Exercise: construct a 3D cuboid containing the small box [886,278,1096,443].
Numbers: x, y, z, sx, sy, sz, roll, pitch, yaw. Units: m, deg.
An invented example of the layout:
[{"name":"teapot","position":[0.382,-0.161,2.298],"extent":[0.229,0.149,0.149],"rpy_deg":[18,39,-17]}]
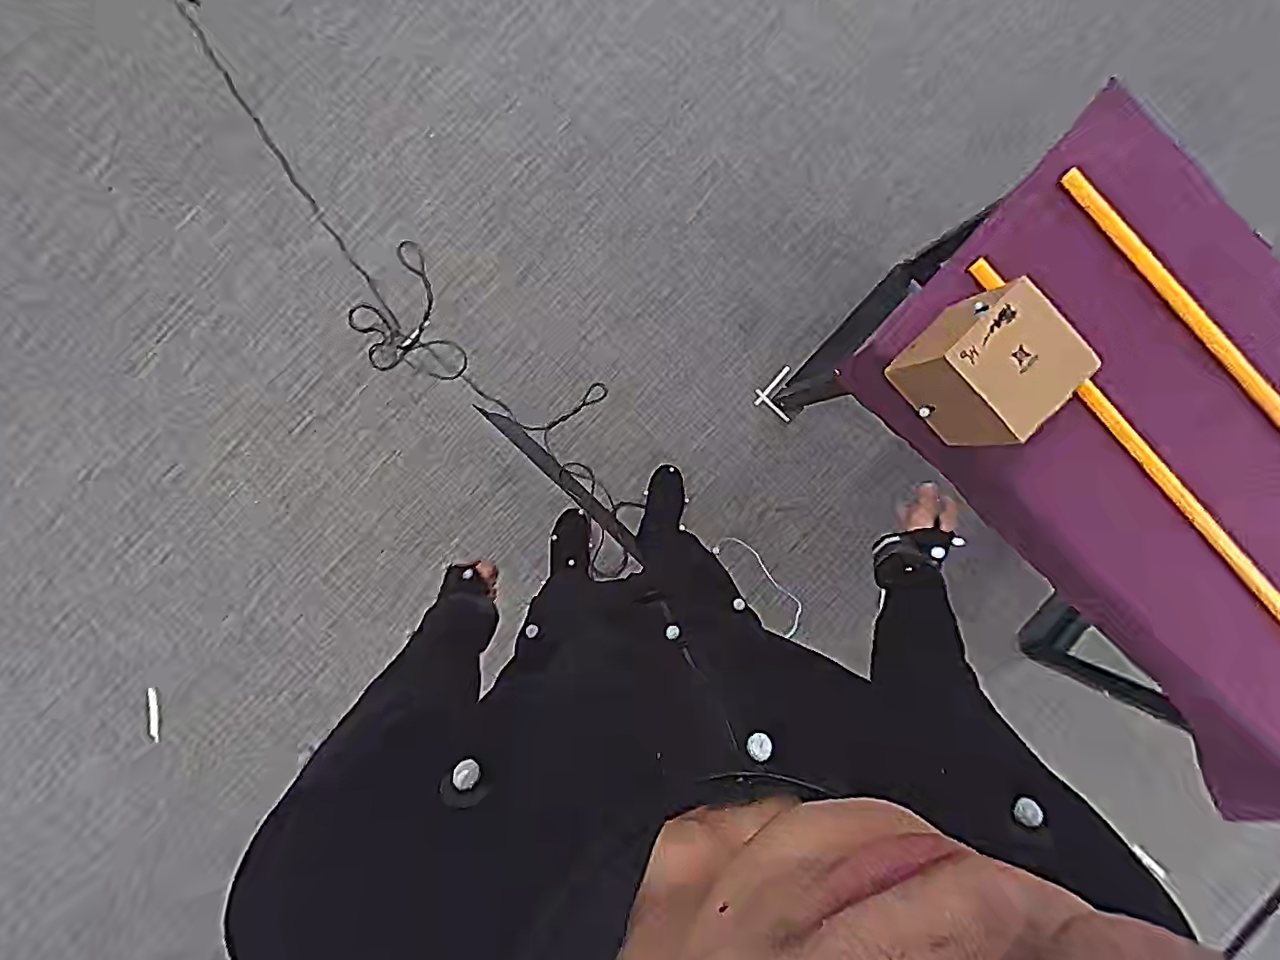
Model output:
[{"name":"small box","position":[0.532,-0.176,0.844],"extent":[0.168,0.176,0.179],"rpy_deg":[-45,96,-1]}]
